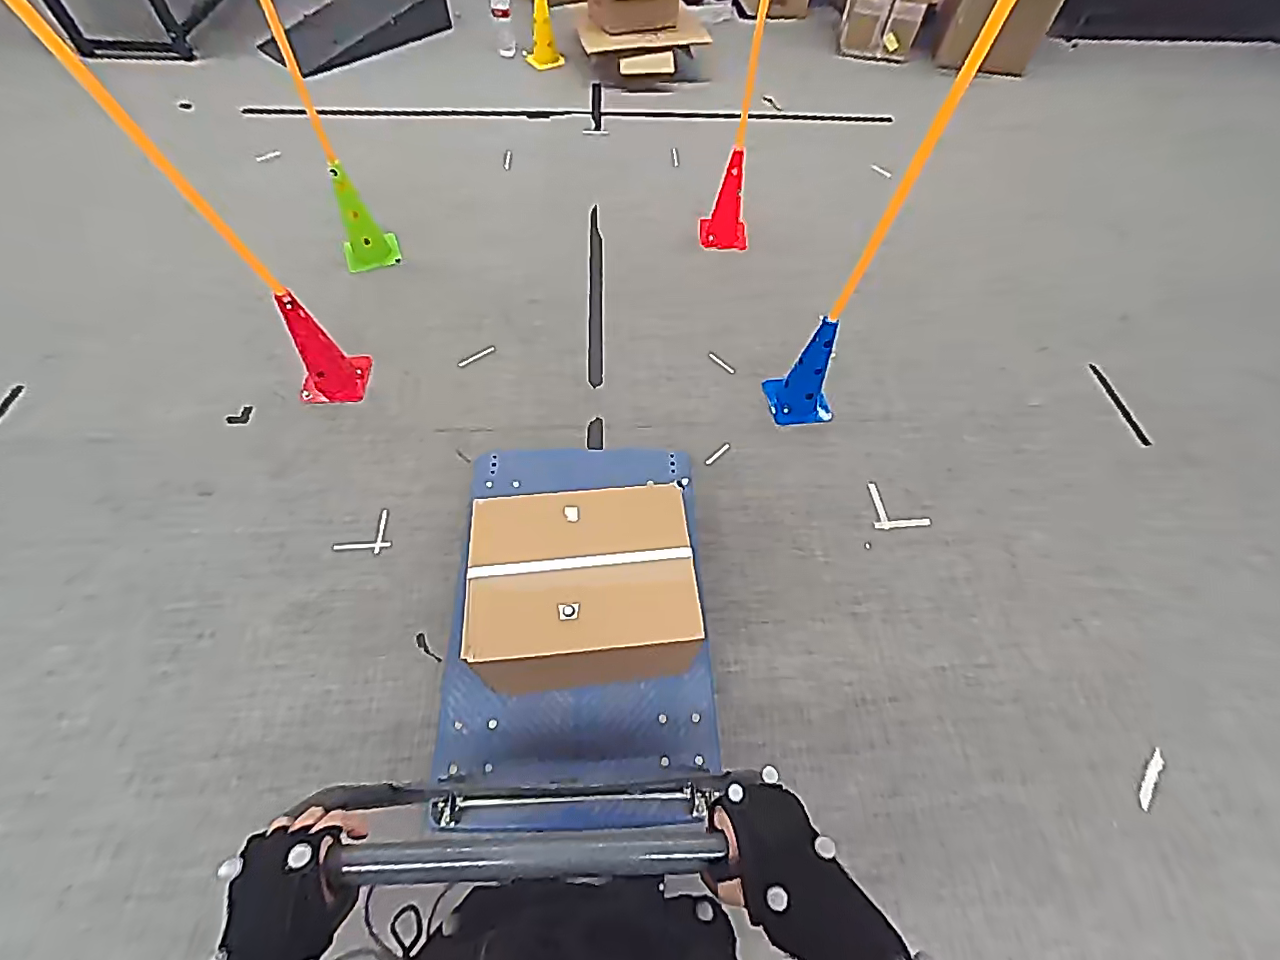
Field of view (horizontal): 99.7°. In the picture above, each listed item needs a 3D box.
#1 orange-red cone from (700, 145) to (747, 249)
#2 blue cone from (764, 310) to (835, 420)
[{"bbox_3d":[0.364,-1.141,2.155,0.199,0.360,0.198,5,59,-1],"label":"orange-red cone"},{"bbox_3d":[0.539,-0.369,1.704,0.193,0.380,0.192,-5,58,-6],"label":"blue cone"}]
